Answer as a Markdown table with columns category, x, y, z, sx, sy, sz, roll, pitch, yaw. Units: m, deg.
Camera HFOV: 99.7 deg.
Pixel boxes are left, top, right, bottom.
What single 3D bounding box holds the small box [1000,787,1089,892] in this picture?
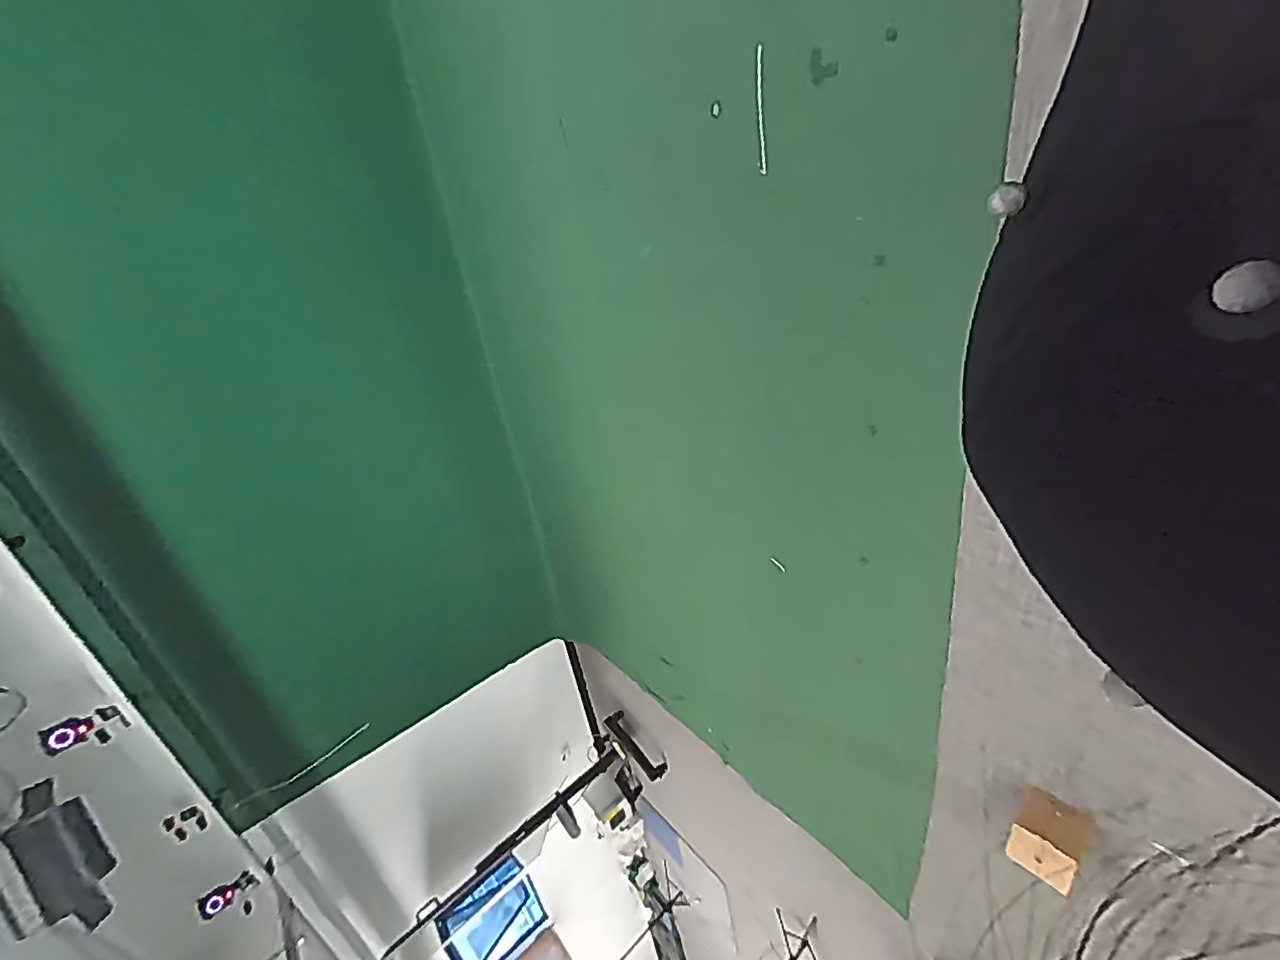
| category | x | y | z | sx | sy | sz | roll | pitch | yaw |
| --- | --- | --- | --- | --- | --- | --- | --- | --- | --- |
| small box | 1.261 | 1.114 | 1.685 | 0.168 | 0.176 | 0.179 | 23 | 129 | 47 |
